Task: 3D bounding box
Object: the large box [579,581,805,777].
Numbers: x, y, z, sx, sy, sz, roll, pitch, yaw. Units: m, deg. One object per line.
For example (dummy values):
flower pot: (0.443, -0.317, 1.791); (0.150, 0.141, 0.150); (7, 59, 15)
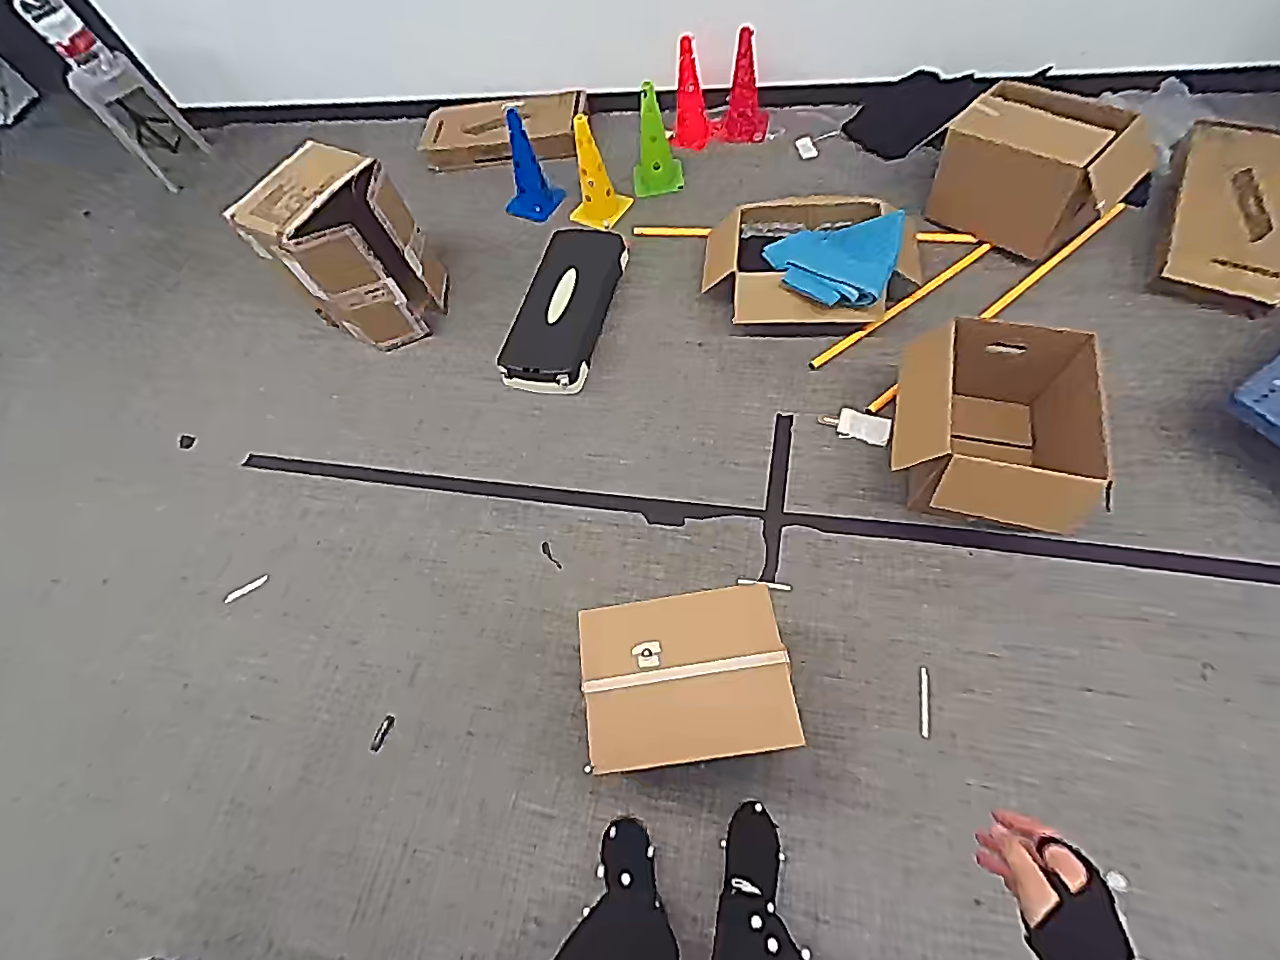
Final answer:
large box: (0.109, 0.444, 1.191); (0.408, 0.320, 0.320); (-11, 62, 4)
